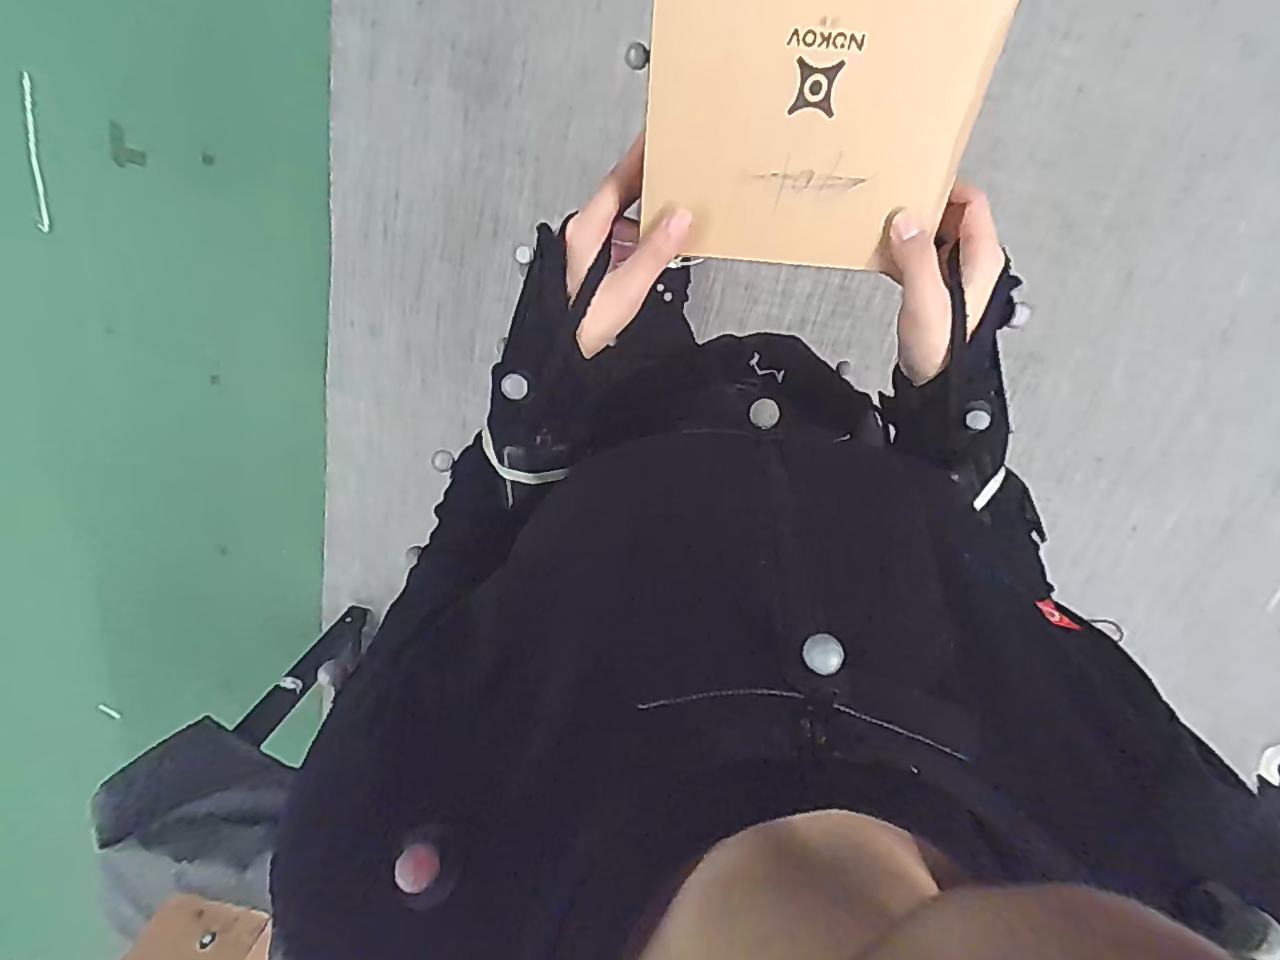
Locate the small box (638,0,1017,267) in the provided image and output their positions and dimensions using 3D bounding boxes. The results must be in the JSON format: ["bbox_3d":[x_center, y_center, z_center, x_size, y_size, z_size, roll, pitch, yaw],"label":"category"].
[{"bbox_3d":[0.090,-0.246,0.326,0.168,0.176,0.179,6,126,0],"label":"small box"}]

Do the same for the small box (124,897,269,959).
[{"bbox_3d":[-0.725,0.817,0.855,0.168,0.176,0.179,16,110,-3],"label":"small box"}]
